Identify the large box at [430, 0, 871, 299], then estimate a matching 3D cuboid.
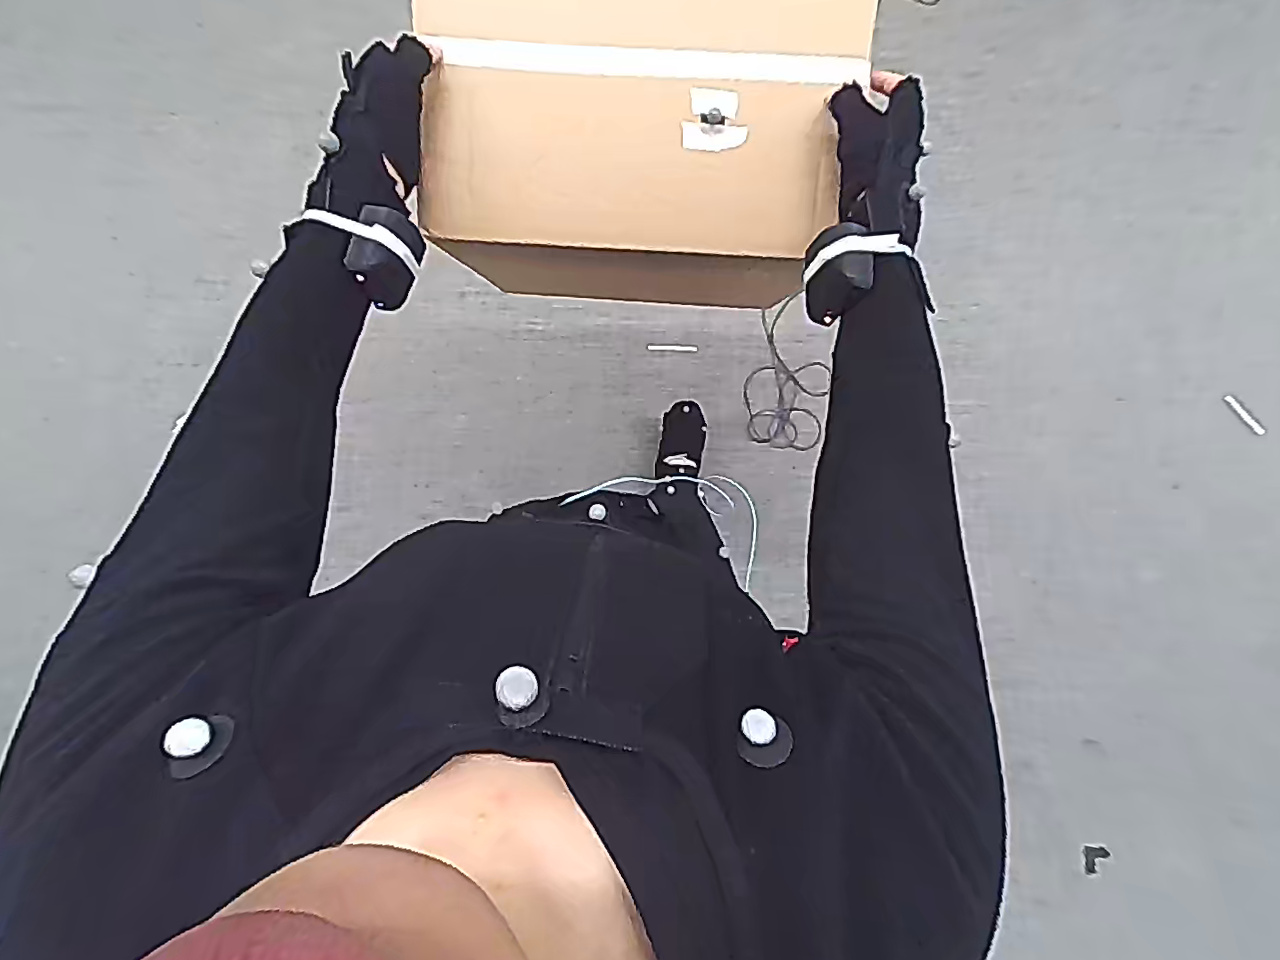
[{"bbox_3d":[0.004,-0.406,0.641,0.408,0.320,0.320,3,100,-1],"label":"large box"}]
